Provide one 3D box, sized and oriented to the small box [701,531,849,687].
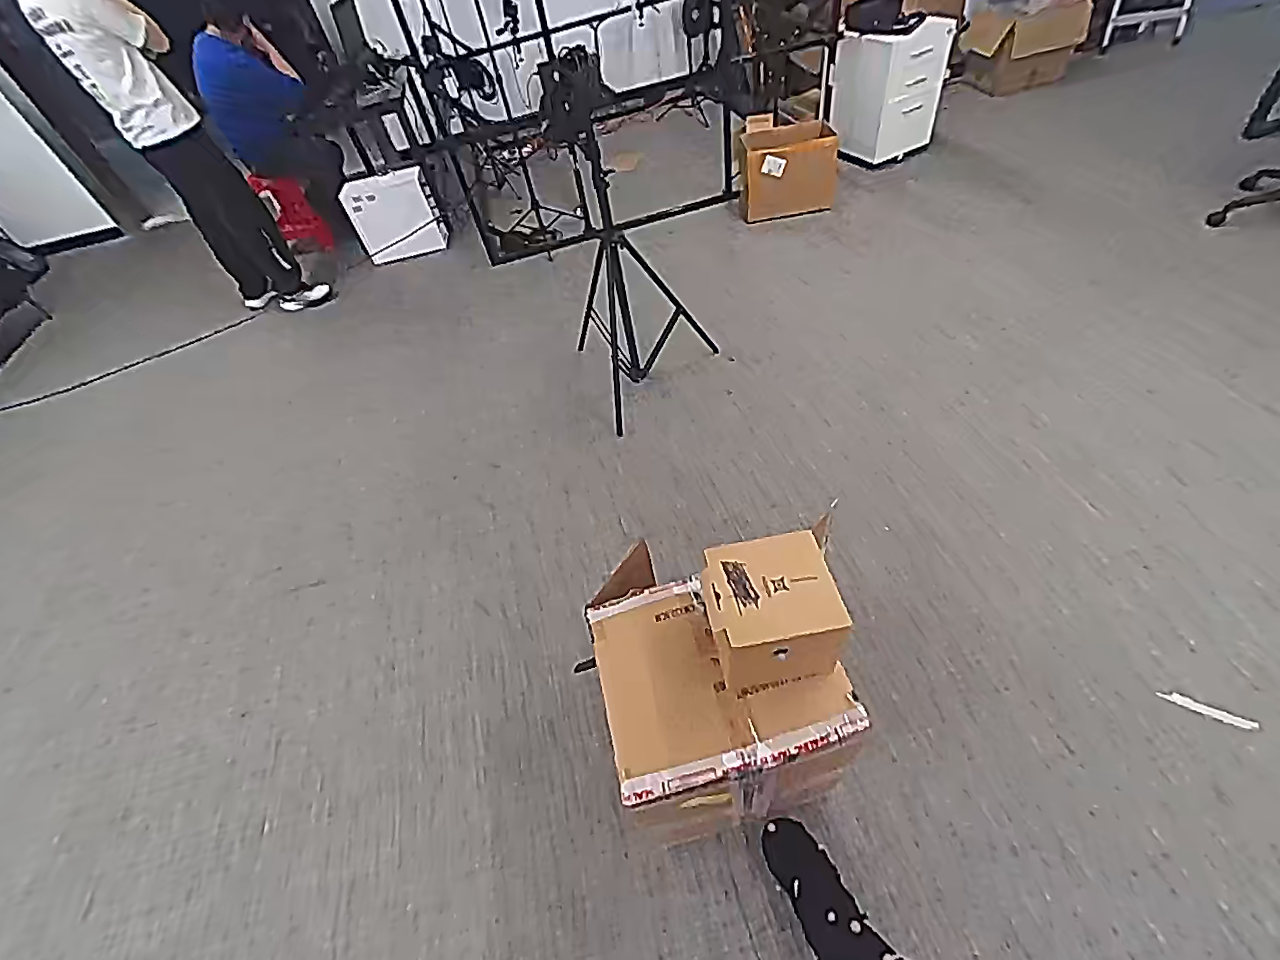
[{"bbox_3d":[0.200,0.206,0.847,0.179,0.176,0.168,-11,50,-1],"label":"small box"}]
